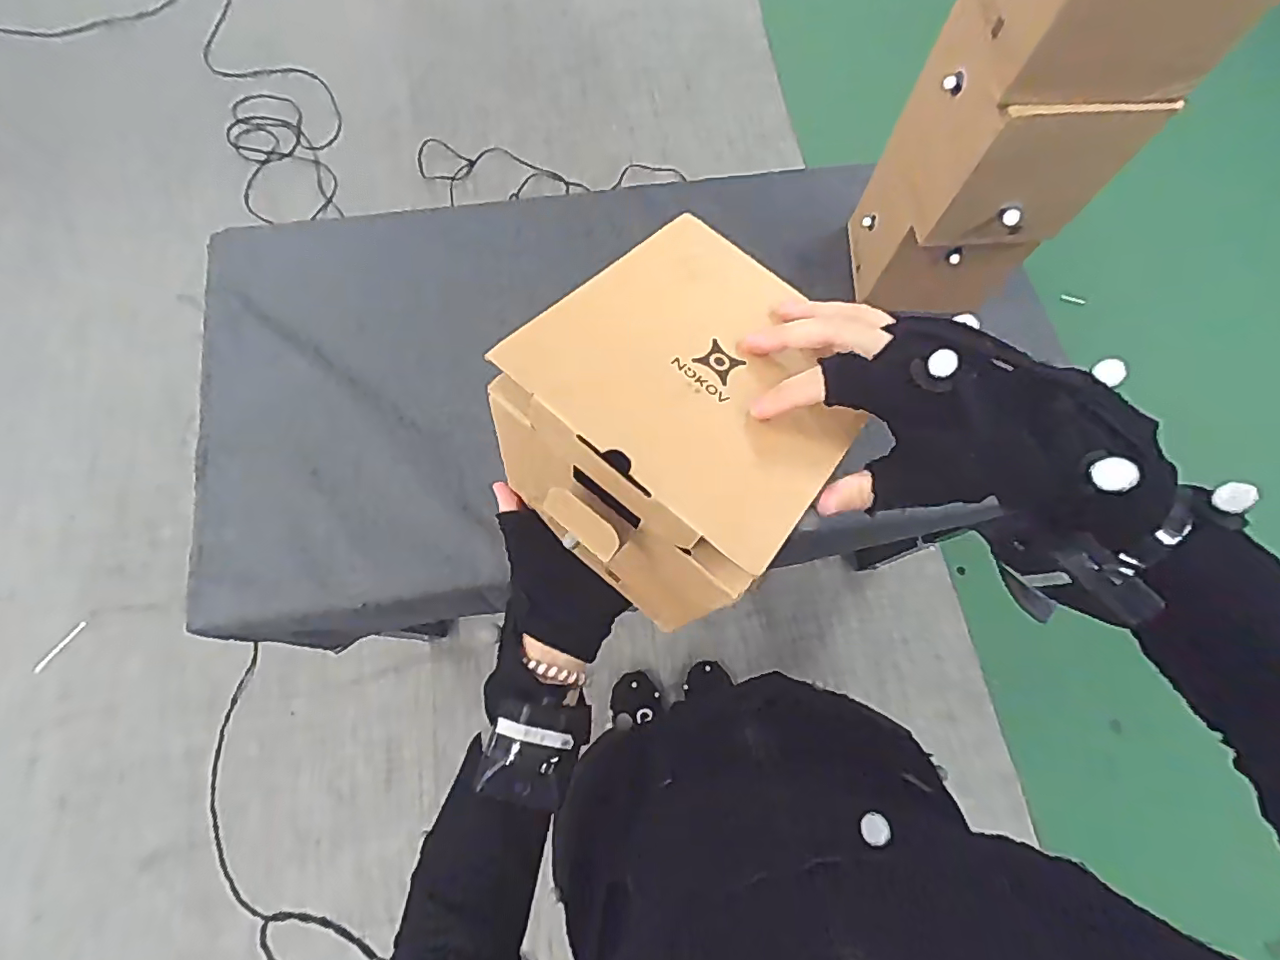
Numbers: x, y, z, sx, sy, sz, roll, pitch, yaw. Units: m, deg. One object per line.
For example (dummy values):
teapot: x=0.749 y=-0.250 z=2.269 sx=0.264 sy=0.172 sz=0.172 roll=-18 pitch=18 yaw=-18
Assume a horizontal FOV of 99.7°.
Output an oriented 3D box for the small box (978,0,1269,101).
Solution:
small box: x=0.407 y=-0.443 z=0.437 sx=0.179 sy=0.176 sz=0.168 roll=-1 pitch=72 yaw=-1

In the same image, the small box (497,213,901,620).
small box: x=0.027 y=-0.029 z=0.368 sx=0.168 sy=0.176 sz=0.179 roll=39 pitch=69 yaw=7

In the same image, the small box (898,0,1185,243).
small box: x=0.409 y=-0.389 z=0.591 sx=0.168 sy=0.176 sz=0.179 roll=-3 pitch=72 yaw=-1

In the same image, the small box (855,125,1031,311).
small box: x=0.414 y=-0.355 z=0.752 sx=0.179 sy=0.176 sz=0.168 roll=3 pitch=72 yaw=0
